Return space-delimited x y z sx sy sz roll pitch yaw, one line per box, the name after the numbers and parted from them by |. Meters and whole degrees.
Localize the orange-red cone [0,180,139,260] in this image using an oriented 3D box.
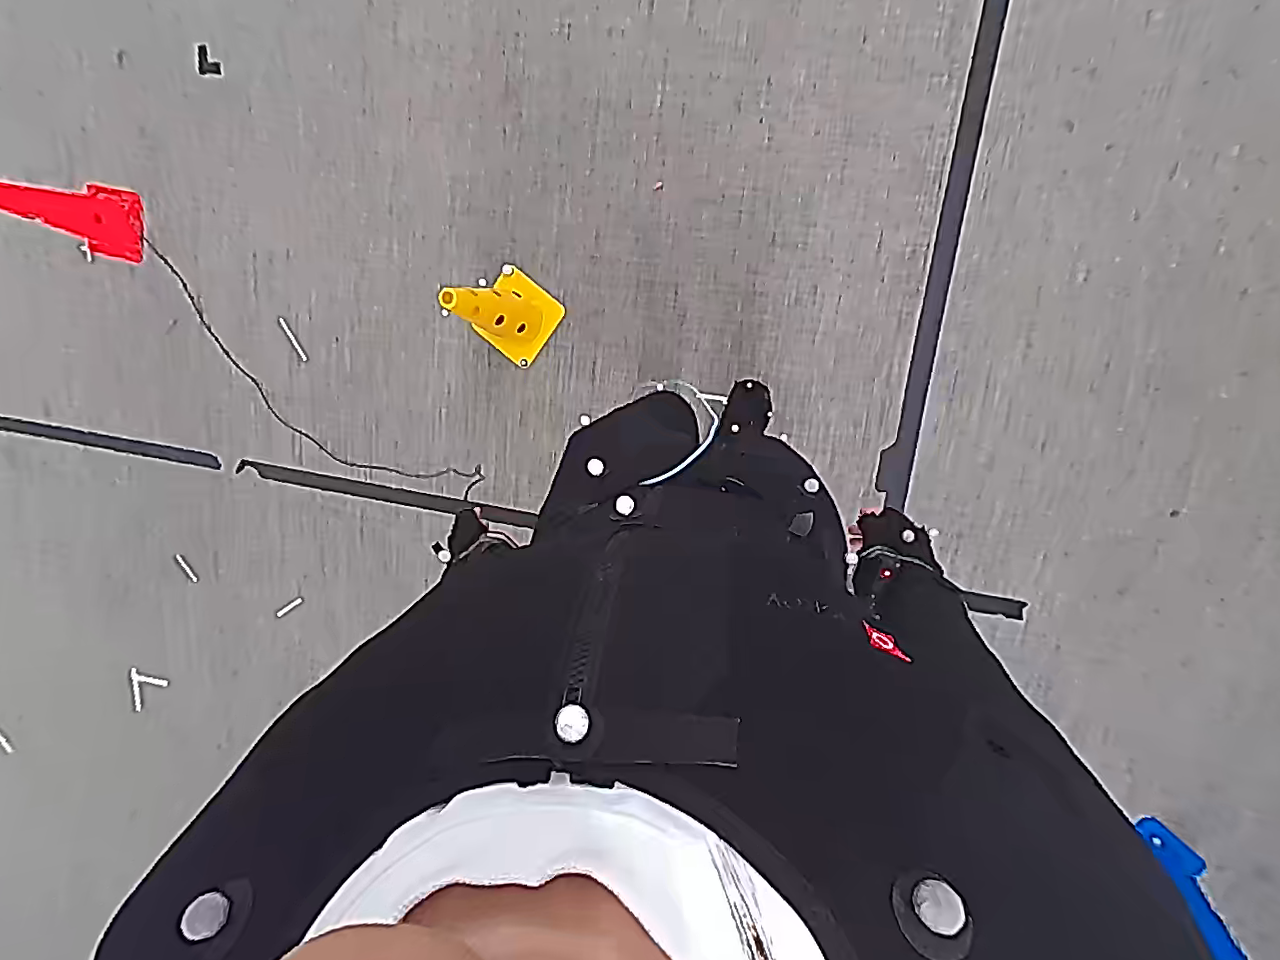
-1.599 -0.737 1.441 0.199 0.360 0.198 16 104 6 | orange-red cone
